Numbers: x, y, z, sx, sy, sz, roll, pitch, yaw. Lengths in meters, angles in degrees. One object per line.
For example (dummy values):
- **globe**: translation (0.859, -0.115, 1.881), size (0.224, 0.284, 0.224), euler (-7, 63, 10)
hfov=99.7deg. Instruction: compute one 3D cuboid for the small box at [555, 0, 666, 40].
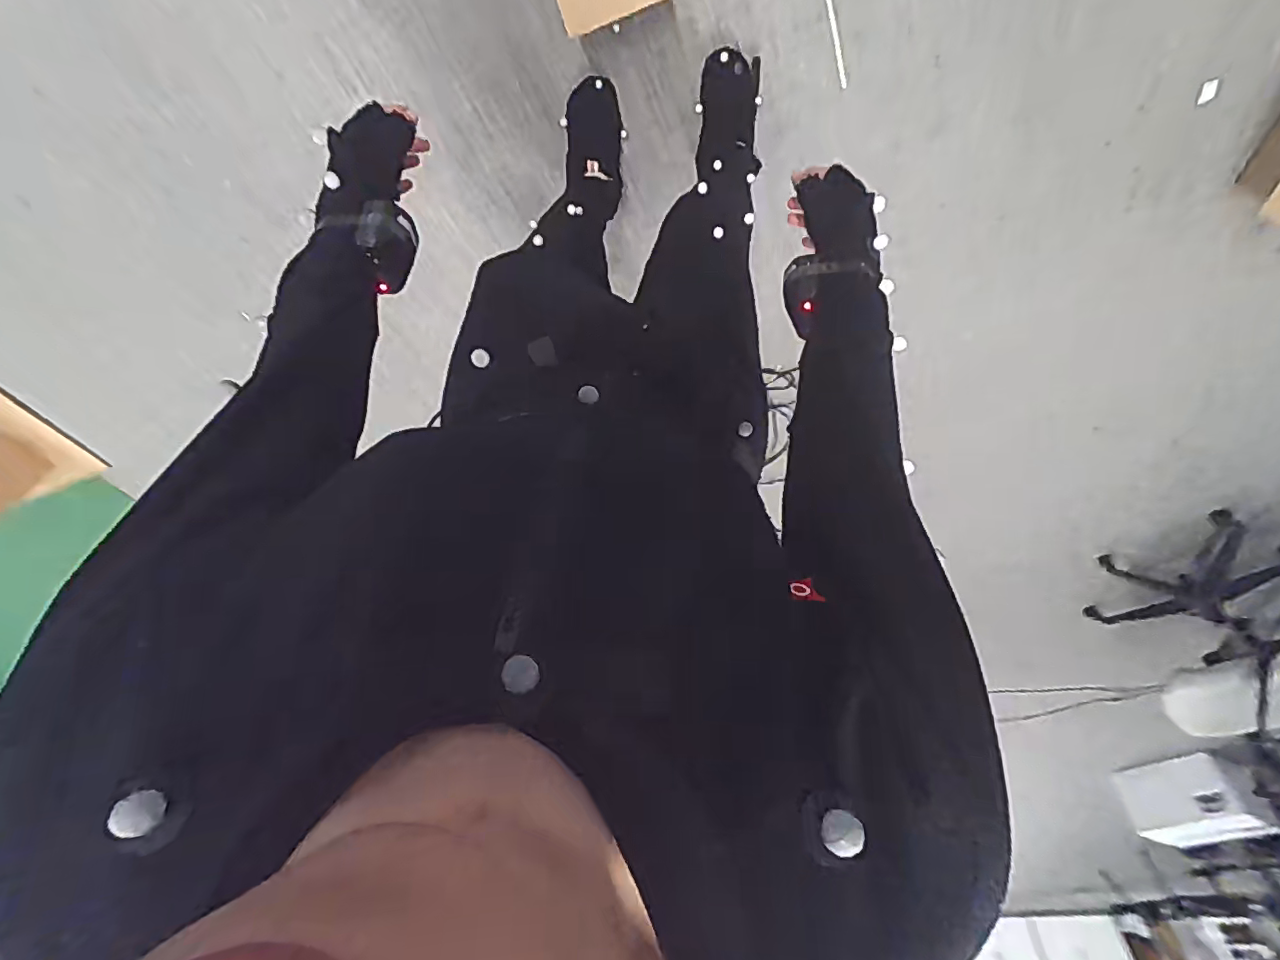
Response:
- **small box**: translation (-0.056, -0.848, 0.874), size (0.179, 0.176, 0.168), euler (-12, 132, 13)
